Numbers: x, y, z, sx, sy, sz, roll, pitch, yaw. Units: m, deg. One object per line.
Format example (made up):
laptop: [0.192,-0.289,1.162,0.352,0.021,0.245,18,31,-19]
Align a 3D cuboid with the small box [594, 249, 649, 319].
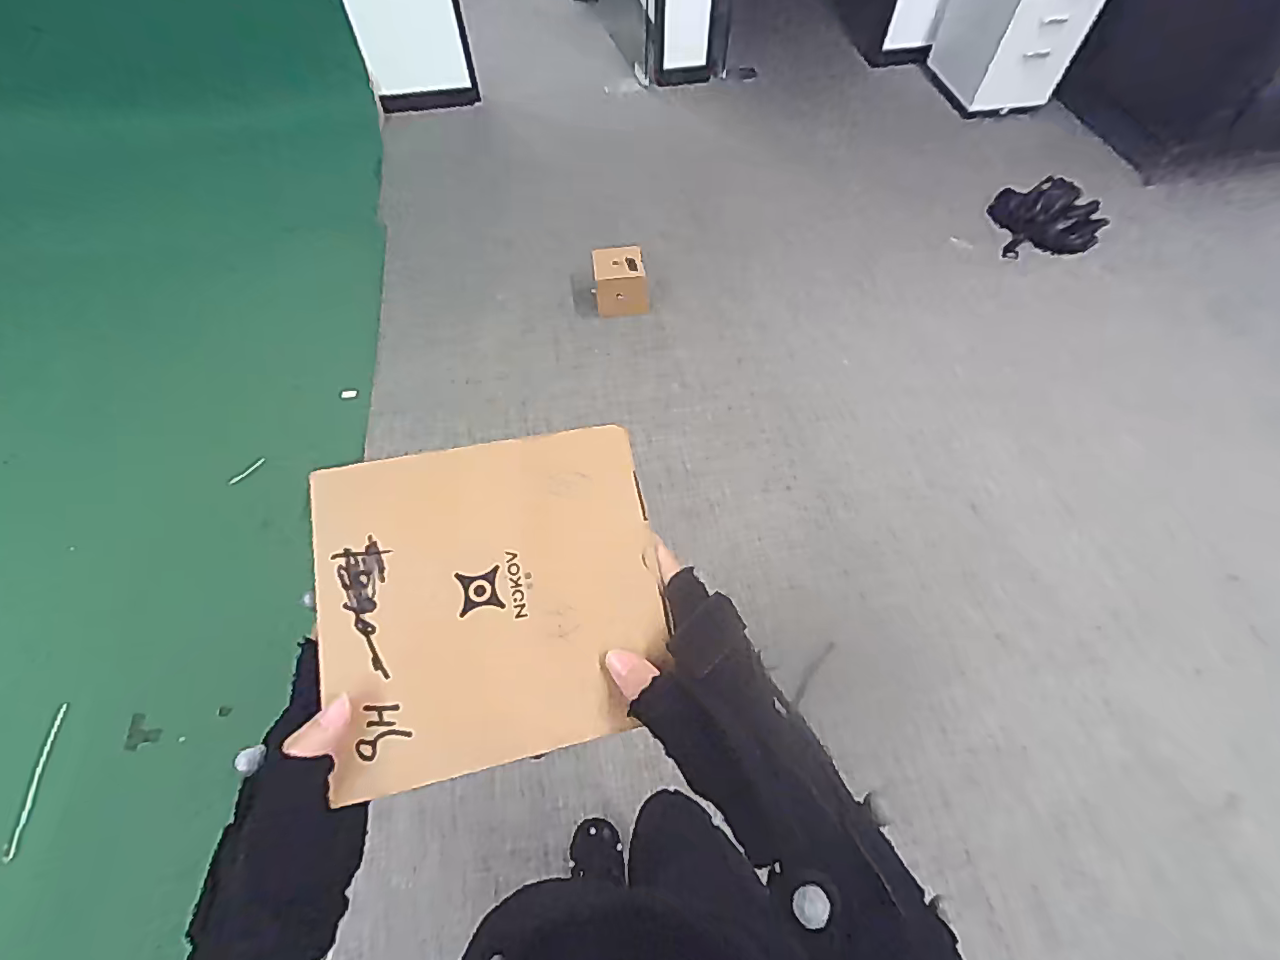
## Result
small box: [-0.068,-0.704,1.950,0.179,0.176,0.168,-8,60,-5]

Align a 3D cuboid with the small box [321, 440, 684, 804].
small box: [-0.088,0.089,0.365,0.179,0.176,0.168,-9,72,-12]
